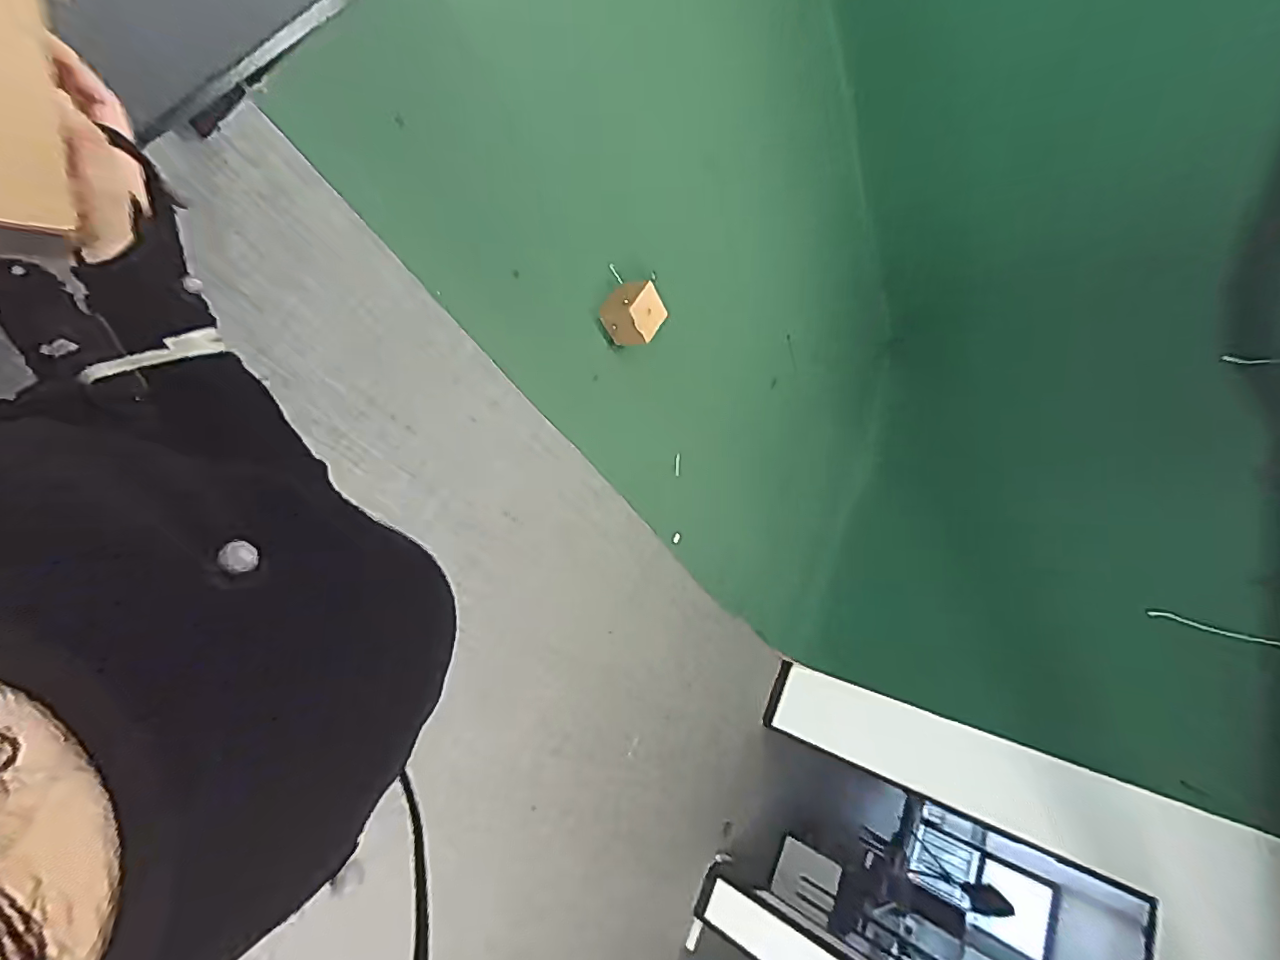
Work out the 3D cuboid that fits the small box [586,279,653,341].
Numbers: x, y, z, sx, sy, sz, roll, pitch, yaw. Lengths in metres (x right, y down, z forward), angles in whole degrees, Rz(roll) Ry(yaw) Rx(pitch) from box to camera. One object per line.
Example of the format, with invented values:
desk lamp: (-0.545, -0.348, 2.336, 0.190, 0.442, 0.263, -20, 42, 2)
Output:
small box: (-0.083, -0.665, 2.119, 0.179, 0.176, 0.168, -59, 138, -24)
